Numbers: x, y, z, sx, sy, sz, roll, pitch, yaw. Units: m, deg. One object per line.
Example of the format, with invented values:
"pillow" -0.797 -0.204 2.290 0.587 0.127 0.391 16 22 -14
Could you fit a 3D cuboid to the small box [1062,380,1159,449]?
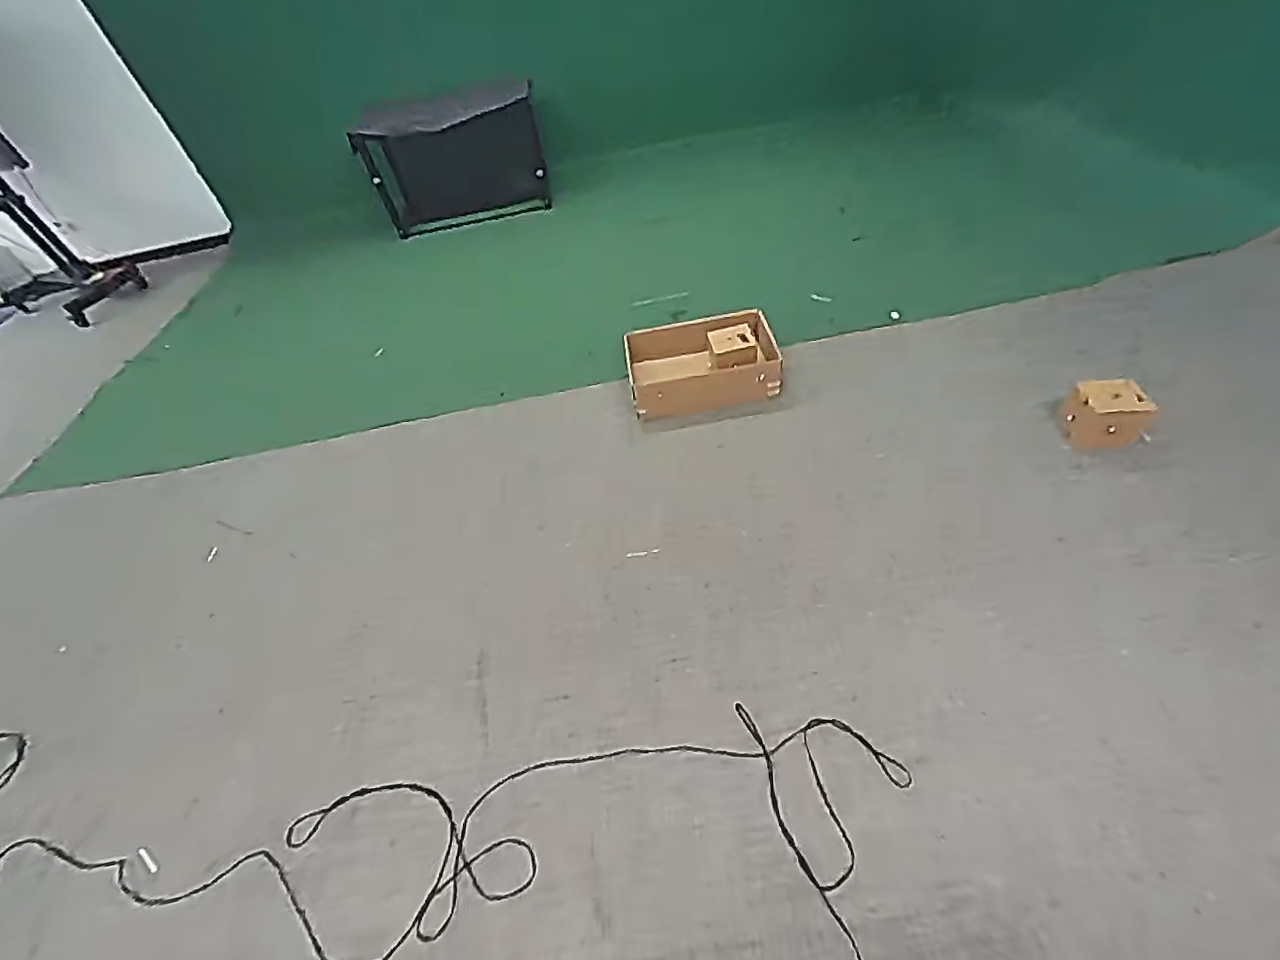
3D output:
"small box" 1.565 -0.217 1.818 0.179 0.176 0.168 -2 47 10
